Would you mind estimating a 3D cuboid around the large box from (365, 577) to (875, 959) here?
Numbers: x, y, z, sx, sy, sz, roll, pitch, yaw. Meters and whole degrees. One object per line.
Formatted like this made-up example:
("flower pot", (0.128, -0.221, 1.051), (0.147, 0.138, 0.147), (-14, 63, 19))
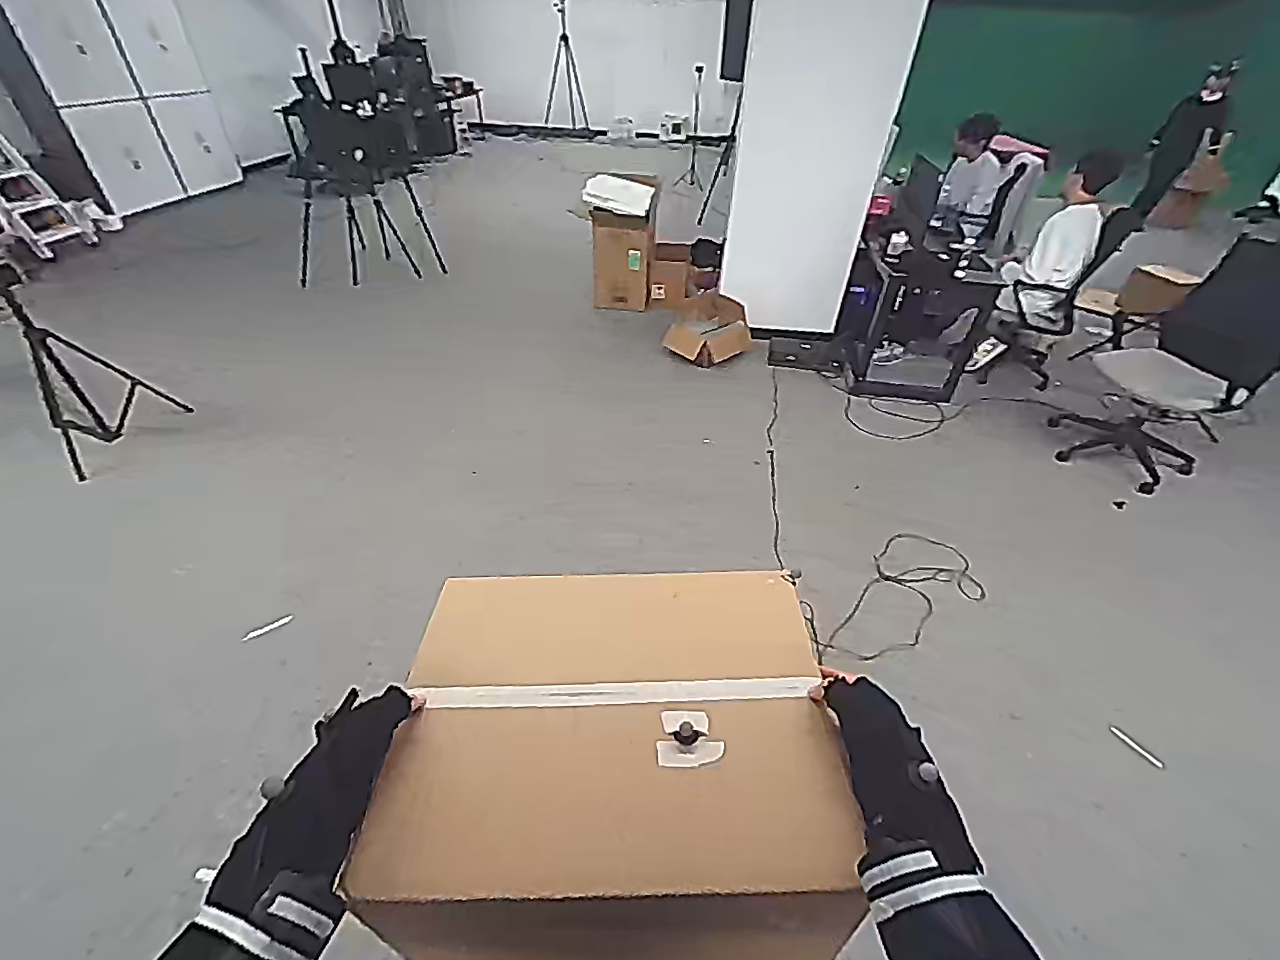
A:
("large box", (-0.015, 0.333, 0.620), (0.408, 0.320, 0.320), (-1, 37, 1))
